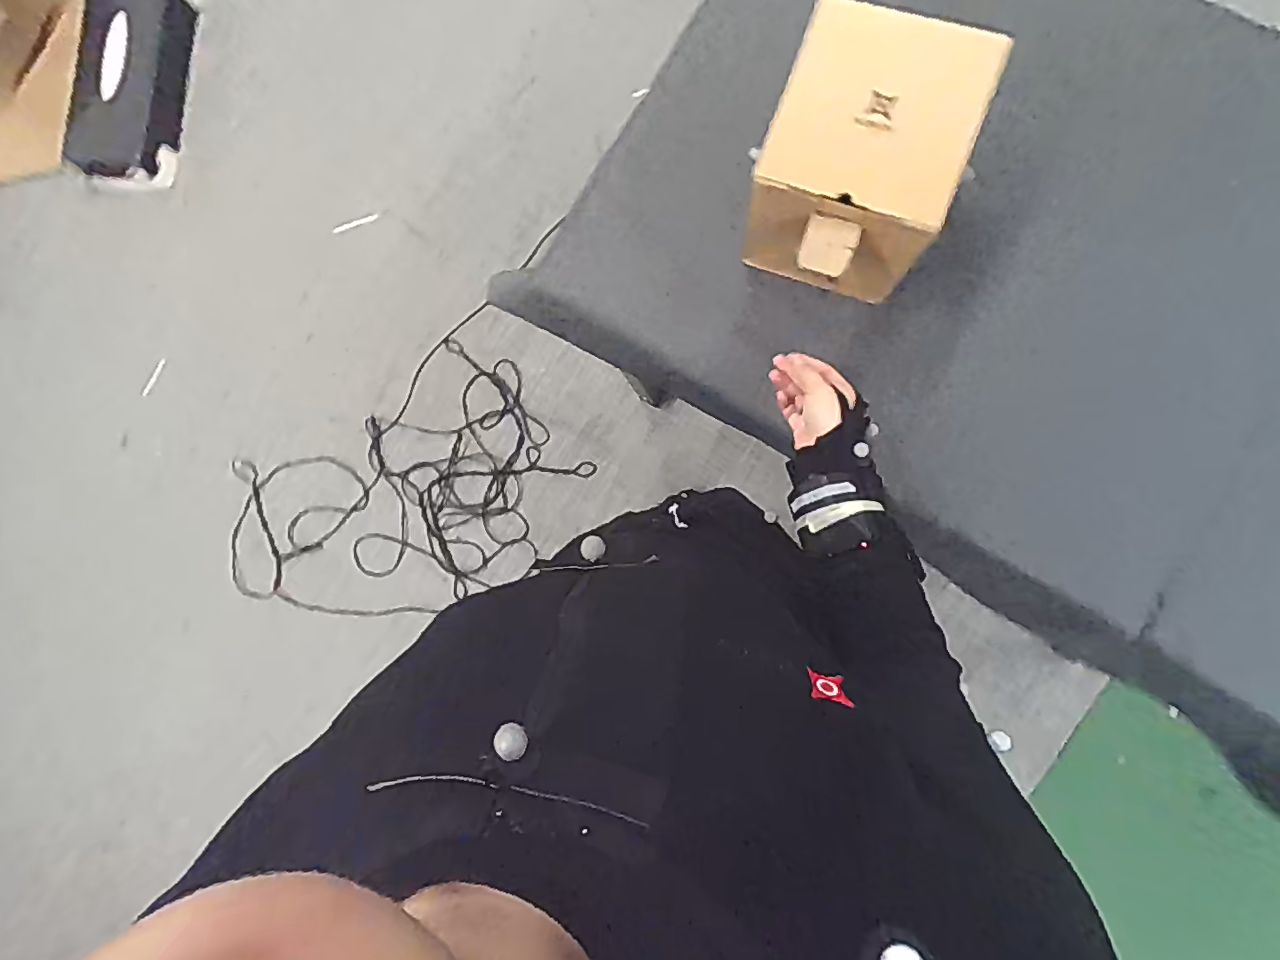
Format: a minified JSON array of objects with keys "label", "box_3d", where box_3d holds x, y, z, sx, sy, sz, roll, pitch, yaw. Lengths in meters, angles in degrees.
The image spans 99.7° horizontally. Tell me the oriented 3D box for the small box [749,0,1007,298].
[{"label":"small box","box_3d":[0.216,-0.314,0.545,0.168,0.176,0.179,20,90,7]}]
